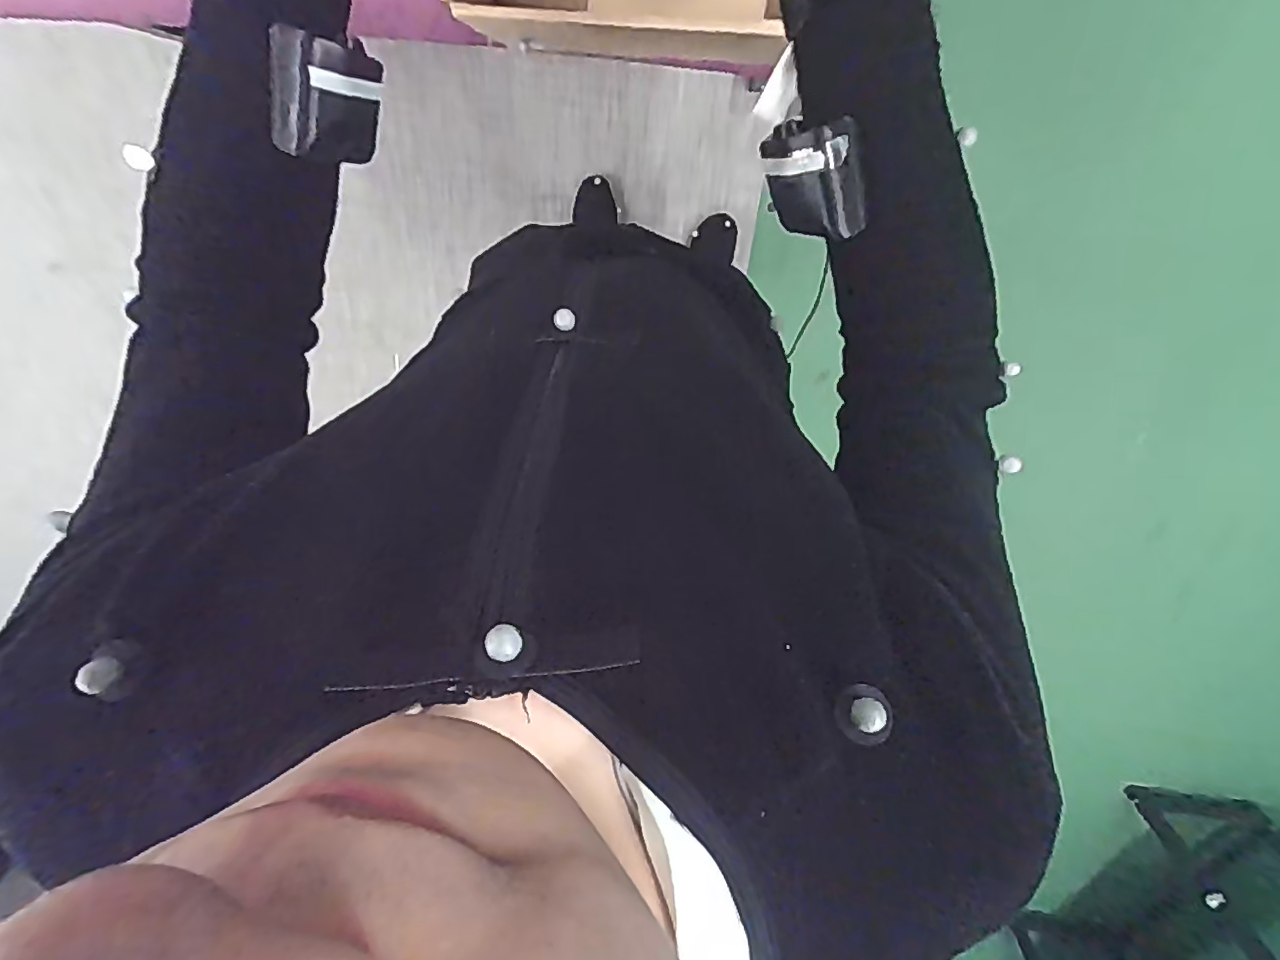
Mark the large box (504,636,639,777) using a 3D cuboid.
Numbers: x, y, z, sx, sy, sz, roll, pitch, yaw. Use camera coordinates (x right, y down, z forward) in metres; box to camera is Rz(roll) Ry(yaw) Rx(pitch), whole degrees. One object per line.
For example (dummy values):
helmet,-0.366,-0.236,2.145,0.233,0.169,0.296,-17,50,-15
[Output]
large box,-0.249,0.876,2.100,0.408,0.320,0.320,-24,116,14
